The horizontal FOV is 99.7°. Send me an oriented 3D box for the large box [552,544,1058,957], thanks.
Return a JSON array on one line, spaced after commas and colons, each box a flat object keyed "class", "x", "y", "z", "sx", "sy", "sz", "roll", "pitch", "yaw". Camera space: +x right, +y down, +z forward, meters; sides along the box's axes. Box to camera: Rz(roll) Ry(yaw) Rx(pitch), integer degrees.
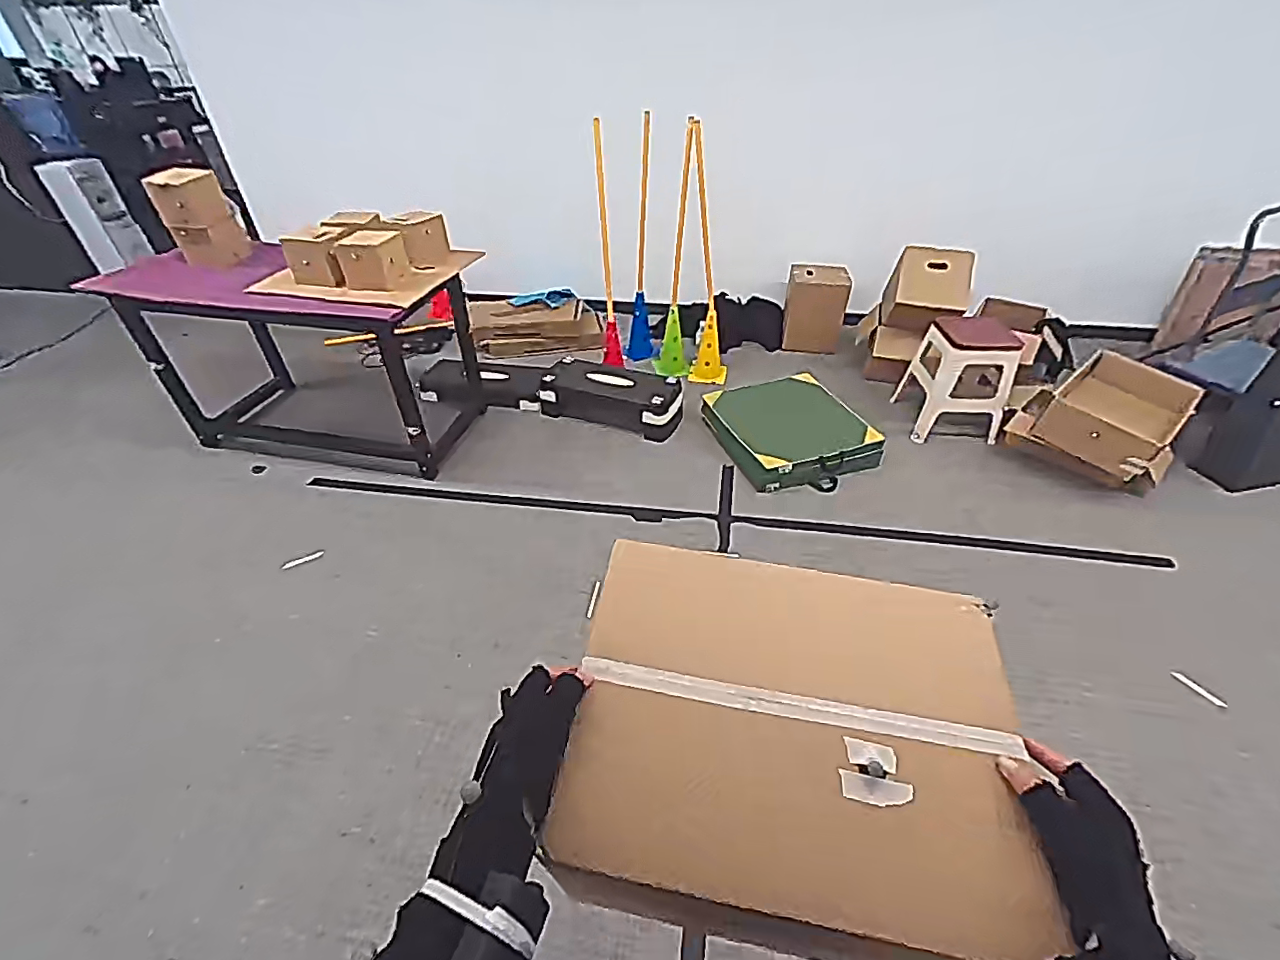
[{"class": "large box", "x": 0.143, "y": 0.312, "z": 0.632, "sx": 0.408, "sy": 0.320, "sz": 0.320, "roll": 9, "pitch": 50, "yaw": 7}]
